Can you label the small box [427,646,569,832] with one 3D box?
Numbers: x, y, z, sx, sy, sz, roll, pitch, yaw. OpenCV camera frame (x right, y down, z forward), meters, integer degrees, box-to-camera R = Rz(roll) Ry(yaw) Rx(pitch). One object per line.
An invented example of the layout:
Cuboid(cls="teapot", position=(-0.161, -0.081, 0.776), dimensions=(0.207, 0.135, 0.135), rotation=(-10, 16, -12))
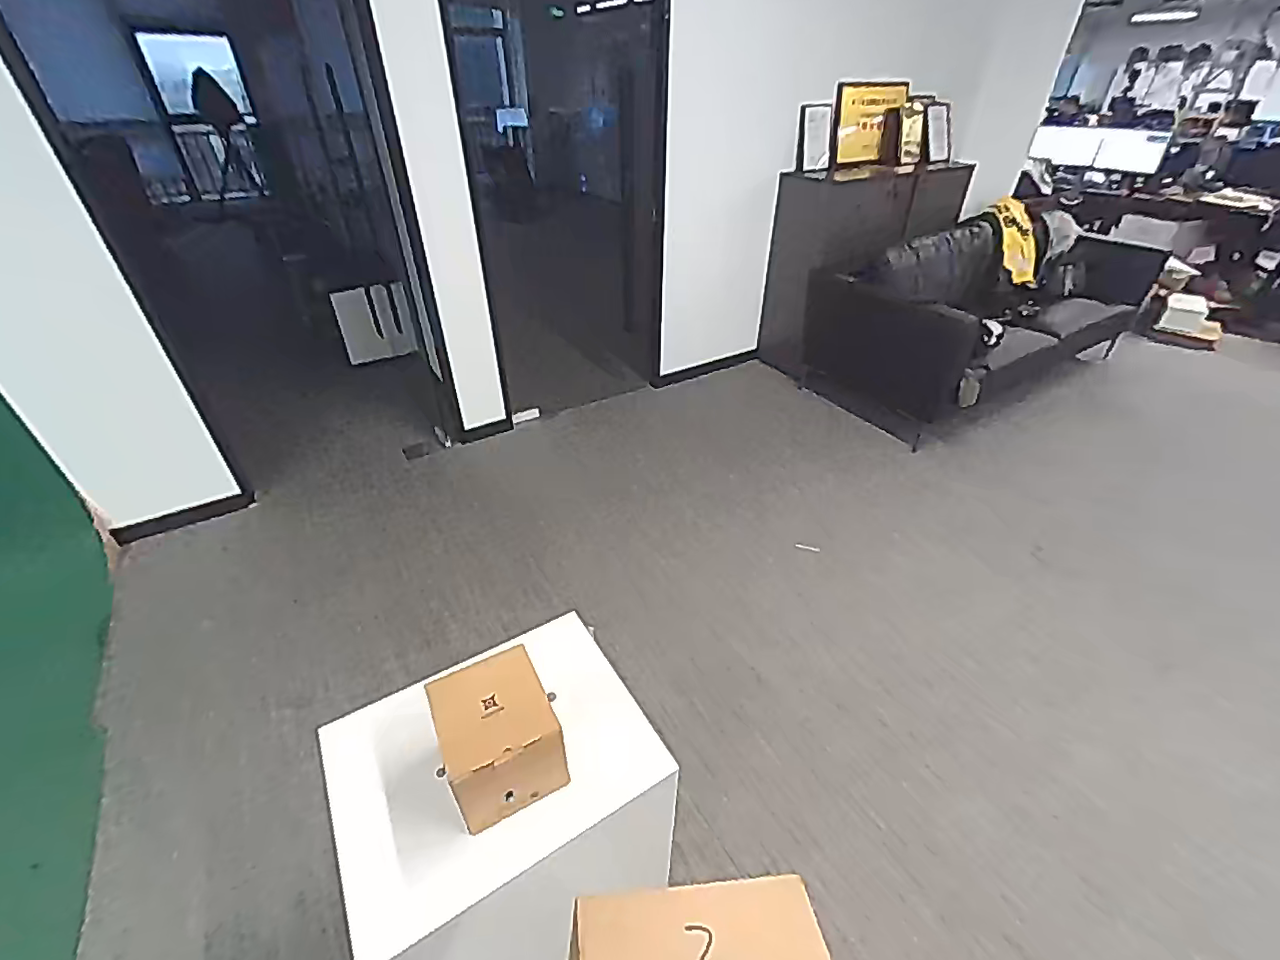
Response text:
Cuboid(cls="small box", position=(-0.224, 0.408, 0.863), dimensions=(0.168, 0.176, 0.179), rotation=(-18, 40, -24))
